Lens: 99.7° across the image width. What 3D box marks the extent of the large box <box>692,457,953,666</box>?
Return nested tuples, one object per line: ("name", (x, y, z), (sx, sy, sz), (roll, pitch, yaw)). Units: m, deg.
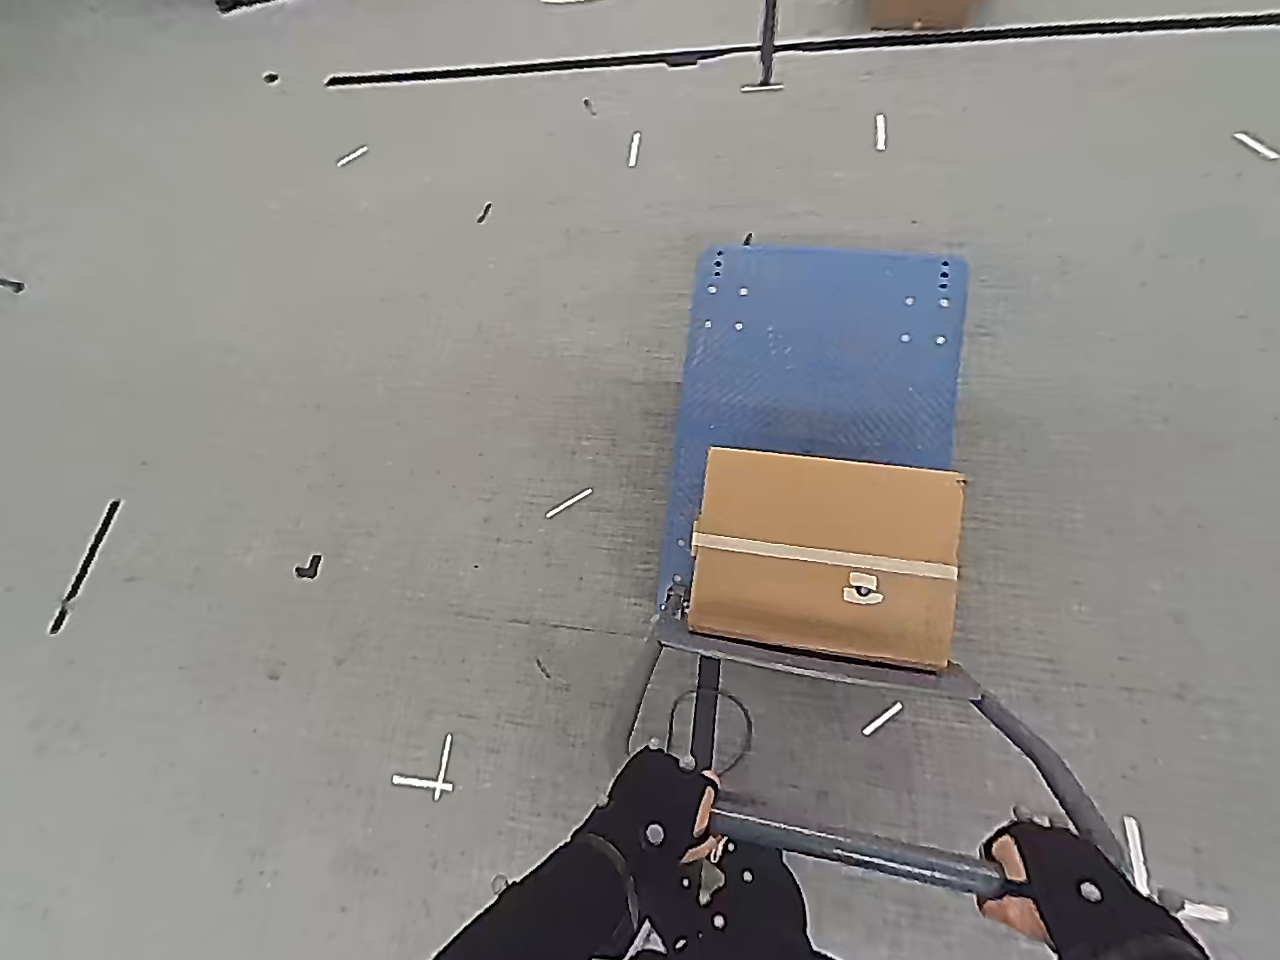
("large box", (0.316, 0.139, 1.037), (0.408, 0.320, 0.320), (6, 88, 9))
